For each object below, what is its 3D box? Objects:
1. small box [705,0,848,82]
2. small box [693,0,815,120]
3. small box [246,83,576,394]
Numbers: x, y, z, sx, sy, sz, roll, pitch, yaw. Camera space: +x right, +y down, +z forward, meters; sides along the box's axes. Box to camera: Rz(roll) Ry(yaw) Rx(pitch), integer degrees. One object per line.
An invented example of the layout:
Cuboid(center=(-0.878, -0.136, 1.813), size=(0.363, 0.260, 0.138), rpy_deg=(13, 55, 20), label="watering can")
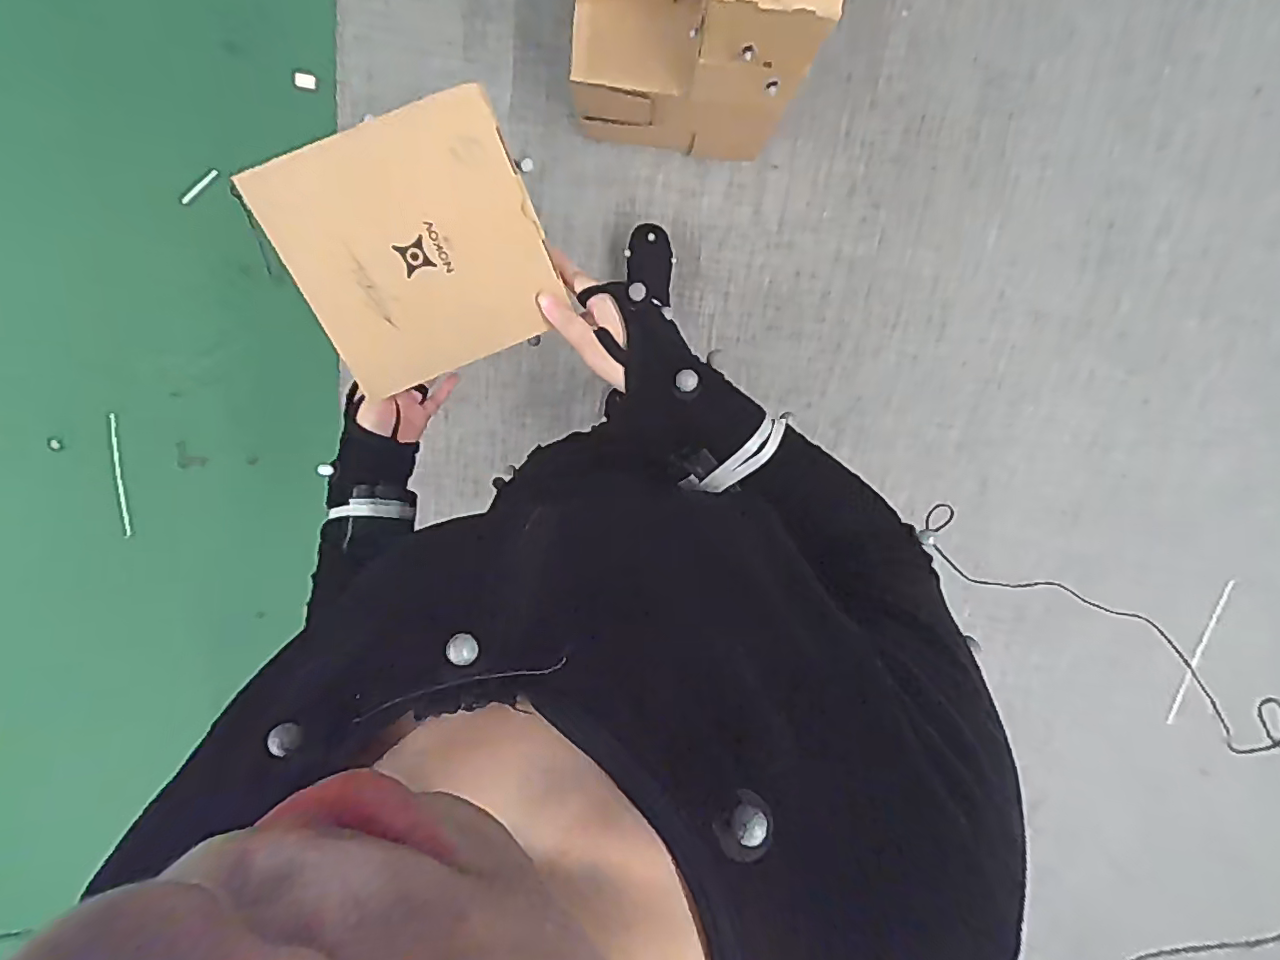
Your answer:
Cuboid(center=(0.187, -0.681, 0.726), size=(0.168, 0.176, 0.179), rpy_deg=(8, 106, -1), label="small box")
Cuboid(center=(0.191, -0.719, 0.884), size=(0.179, 0.176, 0.168), rpy_deg=(8, 104, -1), label="small box")
Cuboid(center=(-0.168, -0.195, 0.461), size=(0.179, 0.176, 0.168), rpy_deg=(-21, 113, 0), label="small box")
